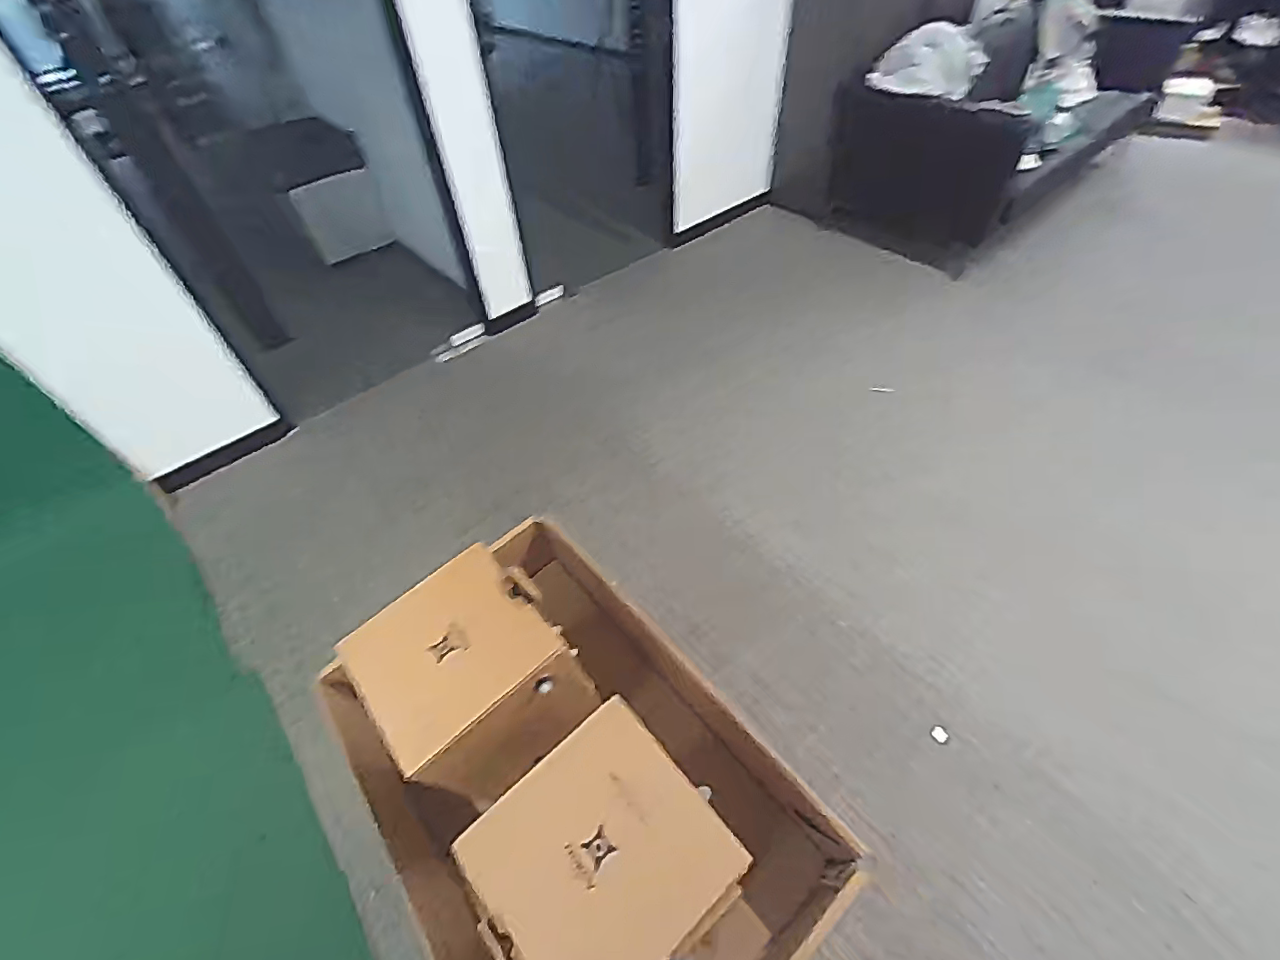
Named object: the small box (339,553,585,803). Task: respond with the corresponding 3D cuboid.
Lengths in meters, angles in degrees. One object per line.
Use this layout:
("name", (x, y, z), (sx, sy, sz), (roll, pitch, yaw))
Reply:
("small box", (-0.183, 0.223, 0.601), (0.179, 0.176, 0.168), (-38, 58, -21))

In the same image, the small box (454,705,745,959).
("small box", (-0.024, 0.344, 0.479), (0.179, 0.176, 0.168), (-37, 56, -20))
